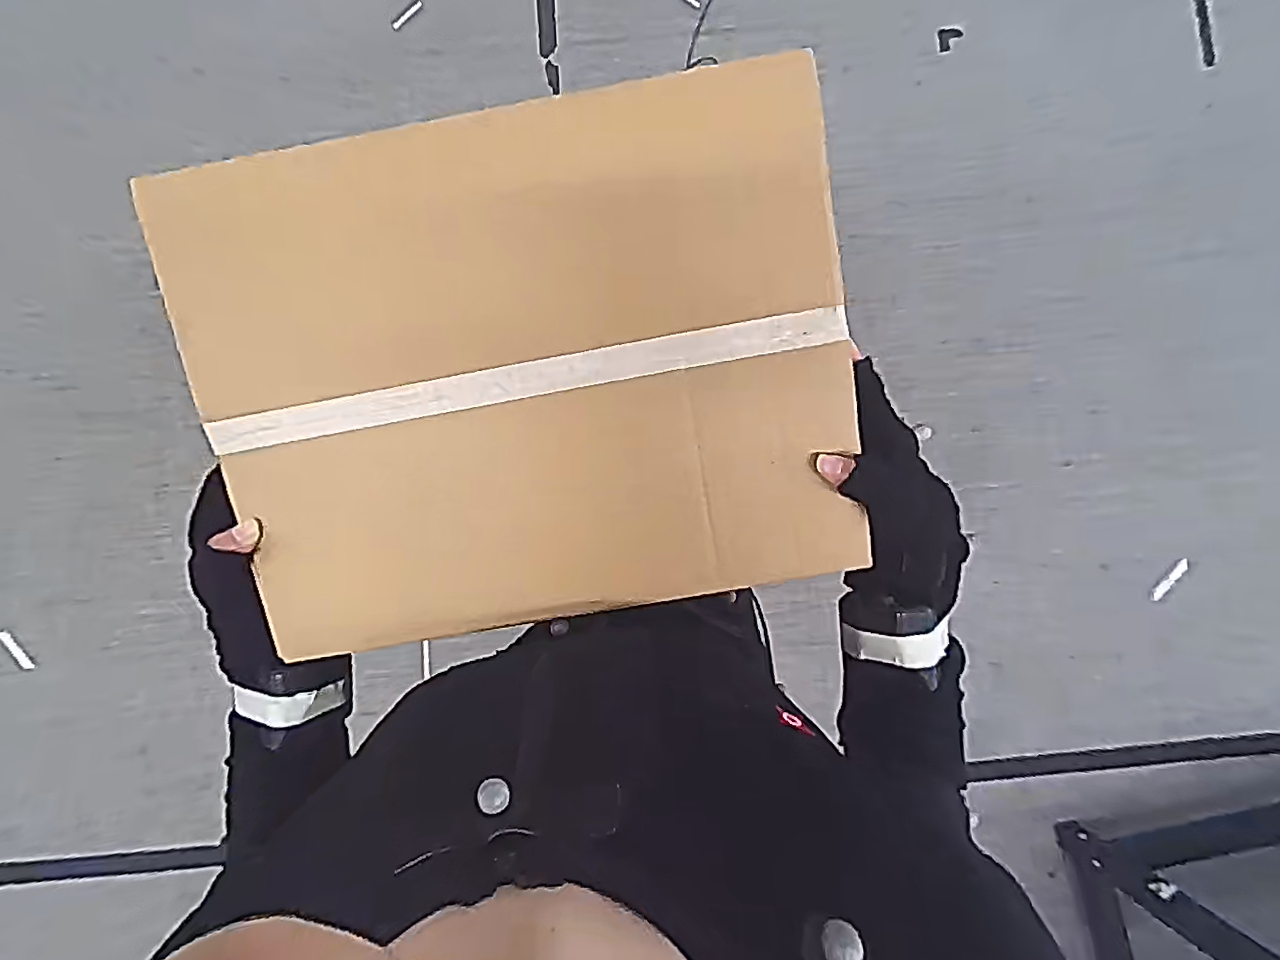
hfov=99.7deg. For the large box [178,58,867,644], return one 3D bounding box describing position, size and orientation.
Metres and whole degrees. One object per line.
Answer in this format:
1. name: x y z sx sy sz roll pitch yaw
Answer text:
1. large box: -0.067 -0.090 0.495 0.408 0.320 0.320 -10 100 2
